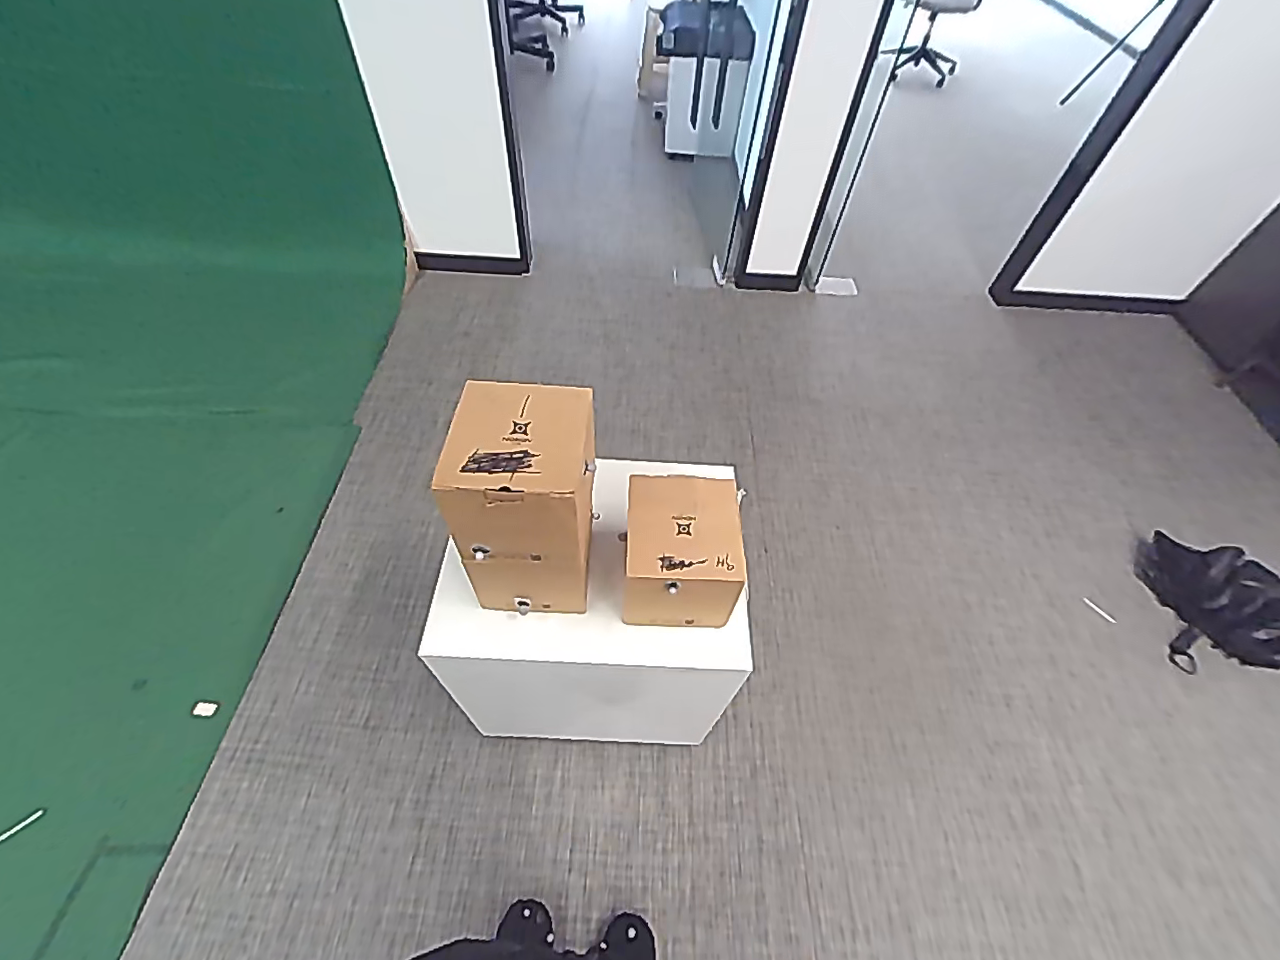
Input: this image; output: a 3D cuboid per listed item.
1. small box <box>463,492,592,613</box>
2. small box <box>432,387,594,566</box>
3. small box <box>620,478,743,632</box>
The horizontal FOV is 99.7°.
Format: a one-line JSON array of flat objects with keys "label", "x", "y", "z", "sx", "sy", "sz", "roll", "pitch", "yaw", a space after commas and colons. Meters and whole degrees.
[{"label": "small box", "x": -0.161, "y": 0.090, "z": 0.840, "sx": 0.168, "sy": 0.176, "sz": 0.179, "roll": 1, "pitch": 54, "yaw": -2}, {"label": "small box", "x": -0.153, "y": -0.001, "z": 0.724, "sx": 0.168, "sy": 0.176, "sz": 0.179, "roll": 4, "pitch": 51, "yaw": 0}, {"label": "small box", "x": 0.057, "y": 0.119, "z": 0.849, "sx": 0.168, "sy": 0.176, "sz": 0.179, "roll": 3, "pitch": 52, "yaw": -2}]
